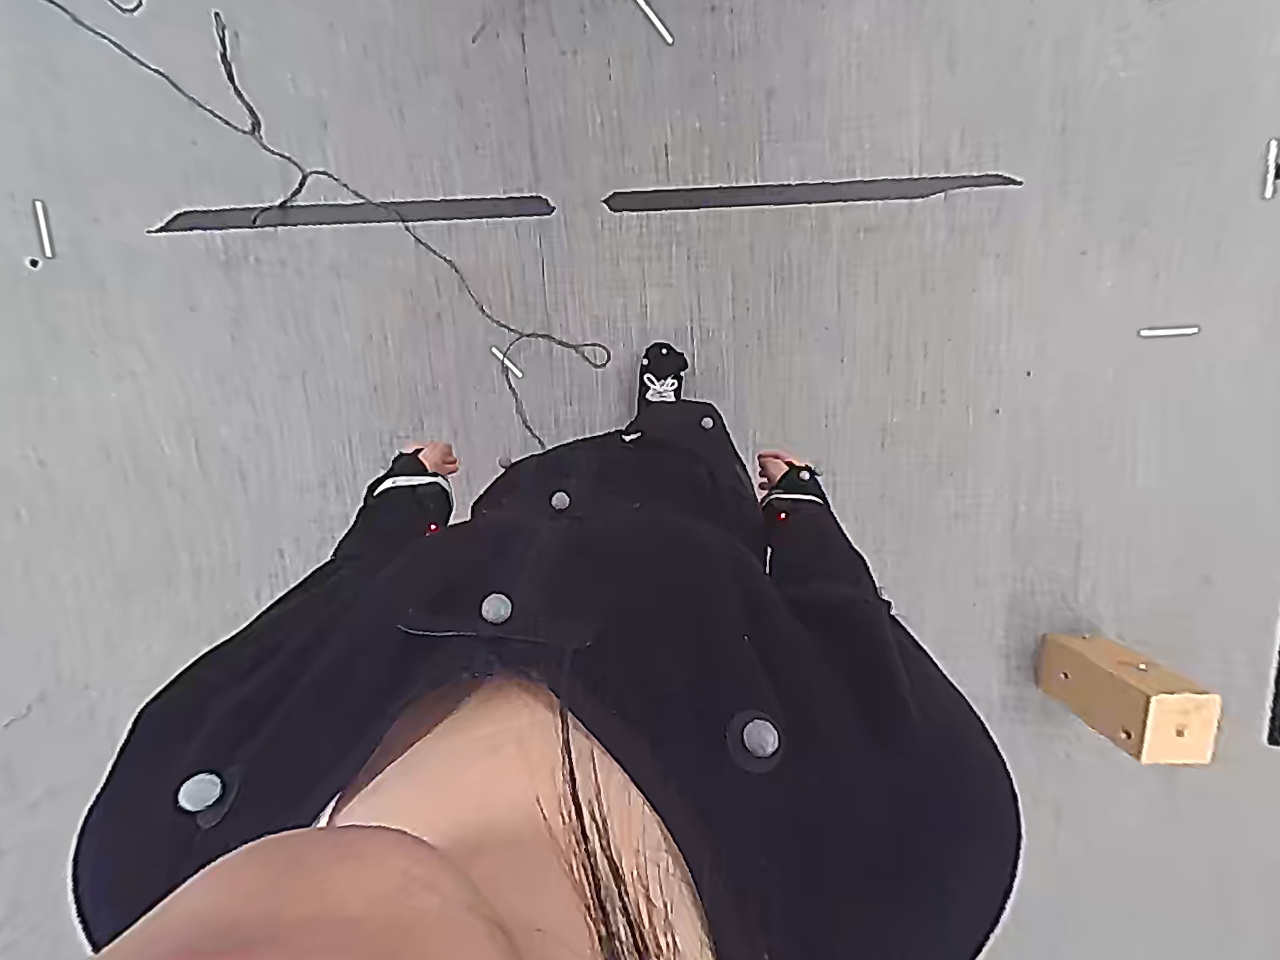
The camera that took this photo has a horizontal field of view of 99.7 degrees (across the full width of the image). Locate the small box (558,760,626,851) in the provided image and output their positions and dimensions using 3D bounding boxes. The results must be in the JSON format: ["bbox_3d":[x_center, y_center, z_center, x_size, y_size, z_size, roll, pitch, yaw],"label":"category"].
[{"bbox_3d":[-0.132,0.932,1.551,0.168,0.176,0.179,-7,100,2],"label":"small box"}]

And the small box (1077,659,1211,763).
[{"bbox_3d":[1.227,0.564,1.332,0.168,0.176,0.179,1,98,-1],"label":"small box"}]

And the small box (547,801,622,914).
[{"bbox_3d":[-0.138,0.957,1.389,0.168,0.176,0.179,-7,99,1],"label":"small box"}]
